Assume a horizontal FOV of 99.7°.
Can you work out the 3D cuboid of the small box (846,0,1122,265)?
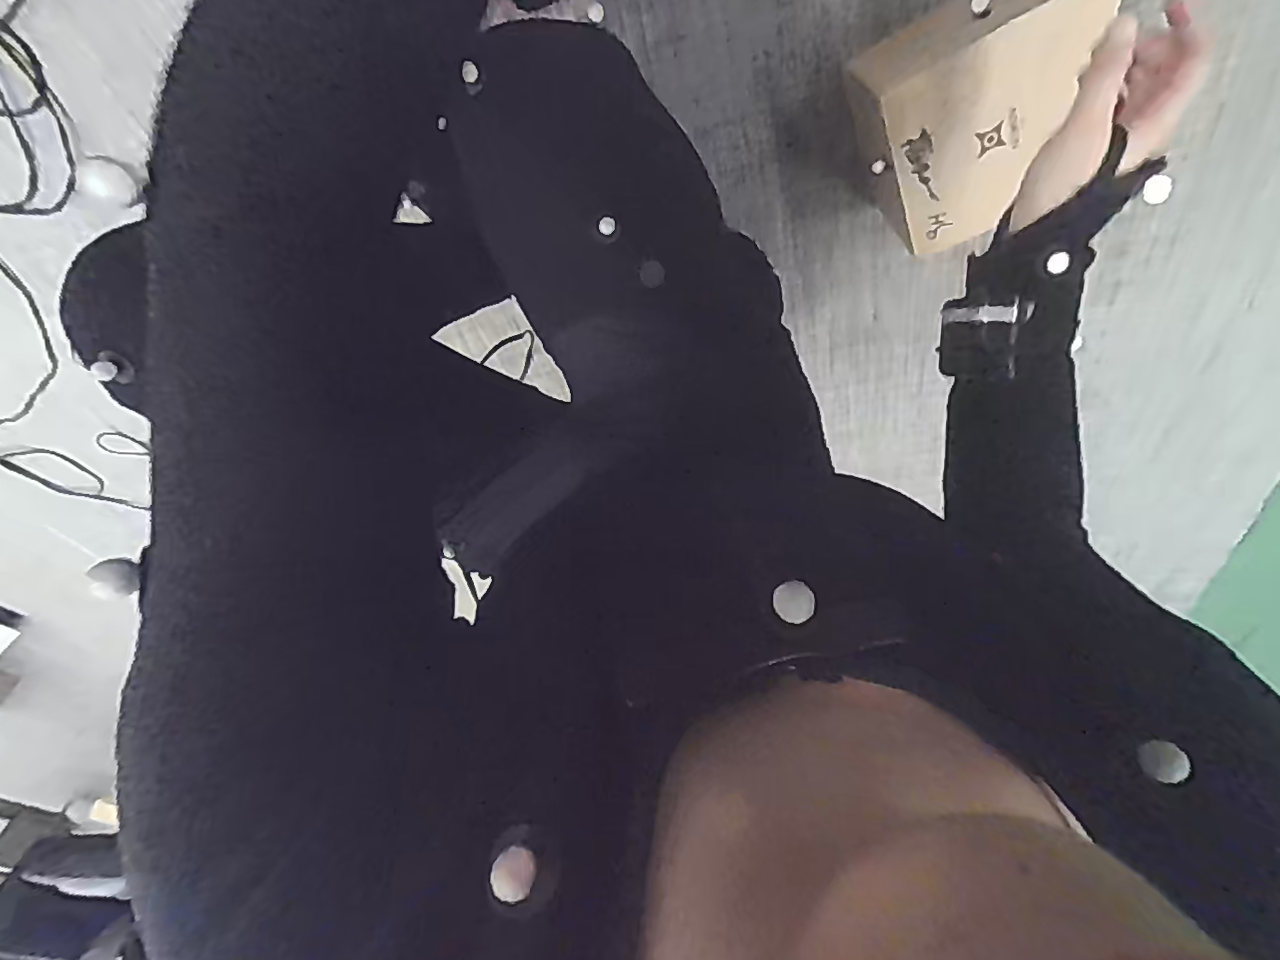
[{"bbox_3d":[0.325,-0.356,0.536,0.179,0.176,0.168,-19,130,24],"label":"small box"}]
